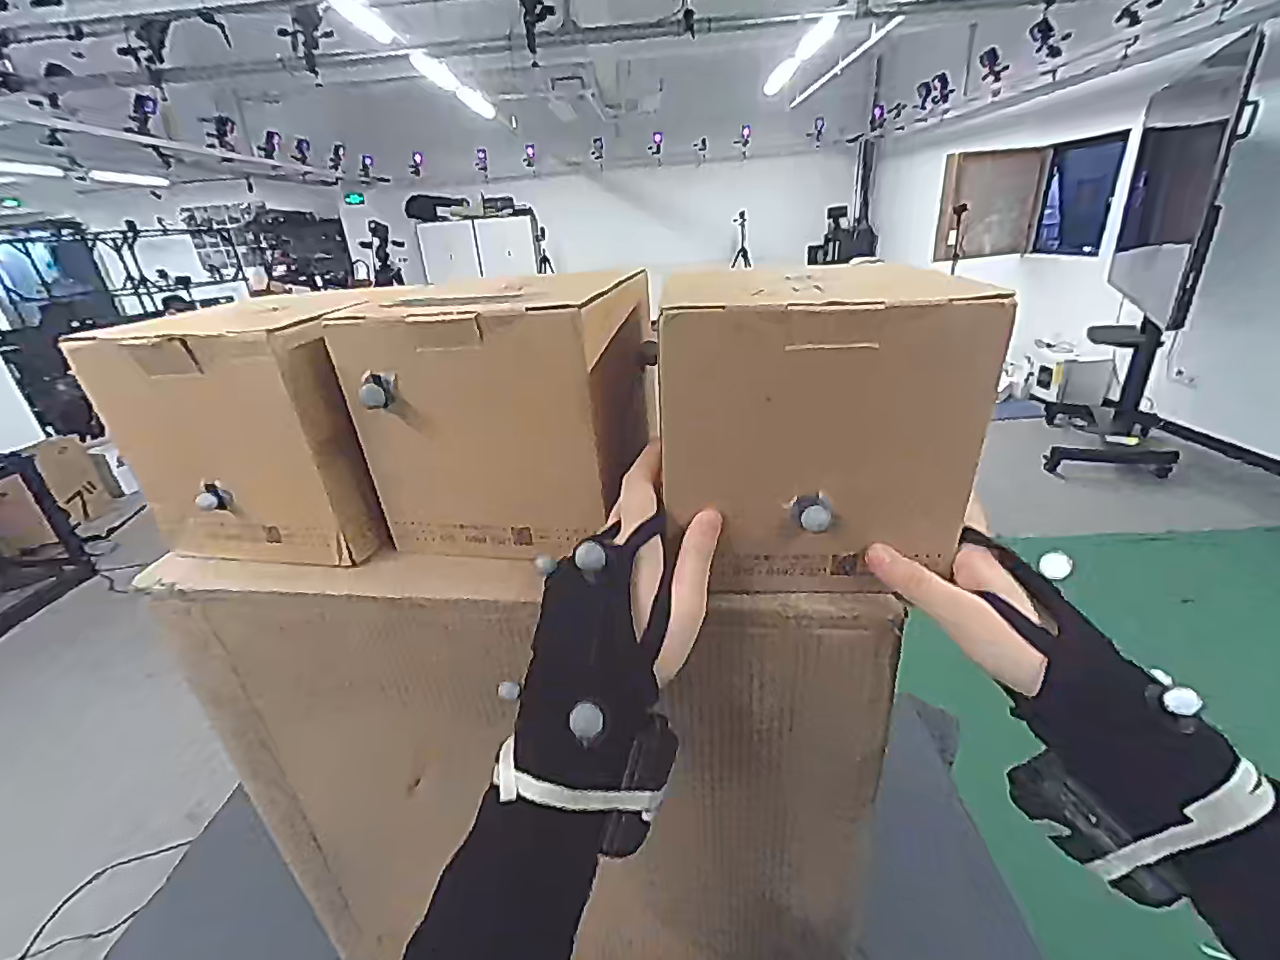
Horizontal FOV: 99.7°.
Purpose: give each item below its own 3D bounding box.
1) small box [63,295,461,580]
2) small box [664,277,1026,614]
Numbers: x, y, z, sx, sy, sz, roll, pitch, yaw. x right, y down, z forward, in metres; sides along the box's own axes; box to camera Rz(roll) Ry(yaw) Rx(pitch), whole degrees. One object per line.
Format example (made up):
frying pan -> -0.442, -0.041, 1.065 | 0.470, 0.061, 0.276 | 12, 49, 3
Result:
small box -> -0.262, -0.044, 0.430 | 0.168, 0.176, 0.179 | 2, 28, 13
small box -> 0.101, -0.035, 0.358 | 0.168, 0.176, 0.179 | -1, 27, 4
